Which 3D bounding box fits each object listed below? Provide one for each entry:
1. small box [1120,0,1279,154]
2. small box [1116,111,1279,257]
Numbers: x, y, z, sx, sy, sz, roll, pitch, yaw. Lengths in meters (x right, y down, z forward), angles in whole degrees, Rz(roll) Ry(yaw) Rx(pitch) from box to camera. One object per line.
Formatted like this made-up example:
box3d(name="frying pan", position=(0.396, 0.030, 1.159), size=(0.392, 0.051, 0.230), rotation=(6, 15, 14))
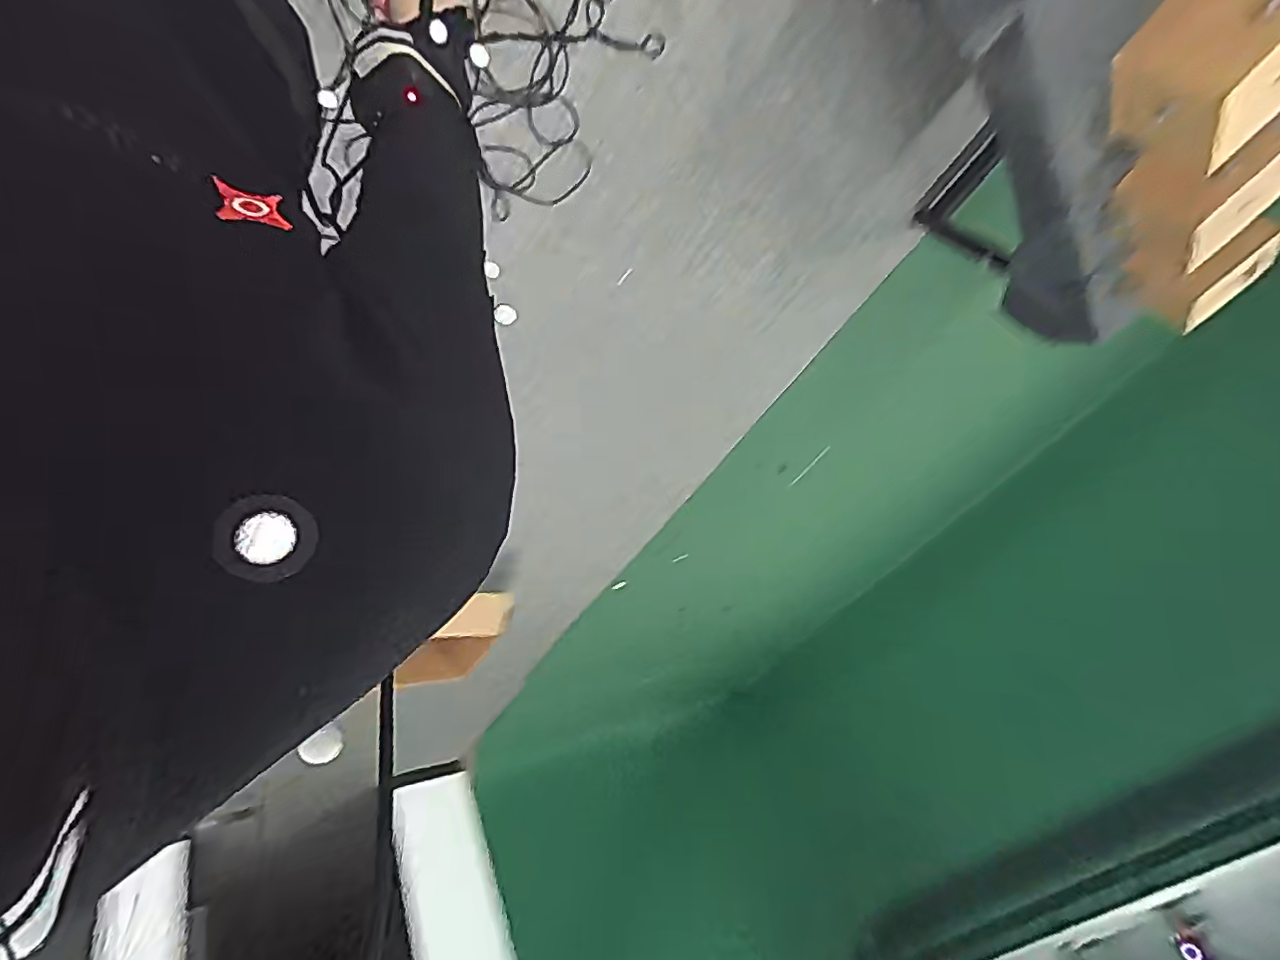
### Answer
box3d(name="small box", position=(0.819, -0.608, 0.752), size=(0.168, 0.176, 0.179), rotation=(15, 122, -46))
box3d(name="small box", position=(1.018, -0.549, 0.975), size=(0.168, 0.176, 0.179), rotation=(16, 123, -45))
